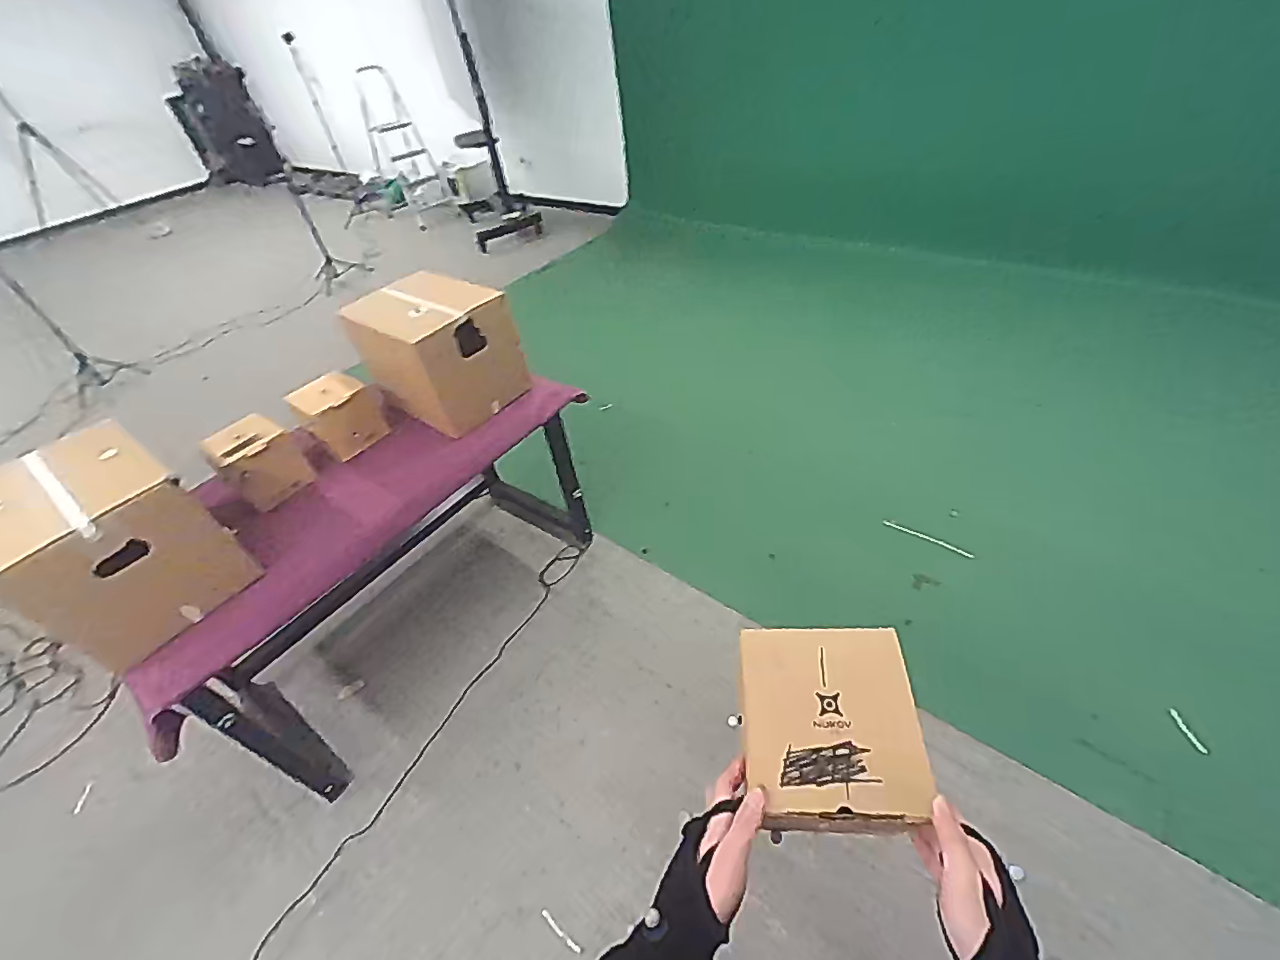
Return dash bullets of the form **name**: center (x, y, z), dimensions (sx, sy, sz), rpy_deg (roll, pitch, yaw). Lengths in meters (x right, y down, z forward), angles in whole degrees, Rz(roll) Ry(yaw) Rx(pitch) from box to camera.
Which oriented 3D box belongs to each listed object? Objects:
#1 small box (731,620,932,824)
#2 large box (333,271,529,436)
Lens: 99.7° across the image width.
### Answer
- **small box**: center (0.189, 0.269, 0.594), dimensions (0.168, 0.176, 0.179), rpy_deg (-2, 52, 6)
- **large box**: center (-0.604, -0.384, 1.605), dimensions (0.408, 0.320, 0.320), rpy_deg (25, 54, 30)
